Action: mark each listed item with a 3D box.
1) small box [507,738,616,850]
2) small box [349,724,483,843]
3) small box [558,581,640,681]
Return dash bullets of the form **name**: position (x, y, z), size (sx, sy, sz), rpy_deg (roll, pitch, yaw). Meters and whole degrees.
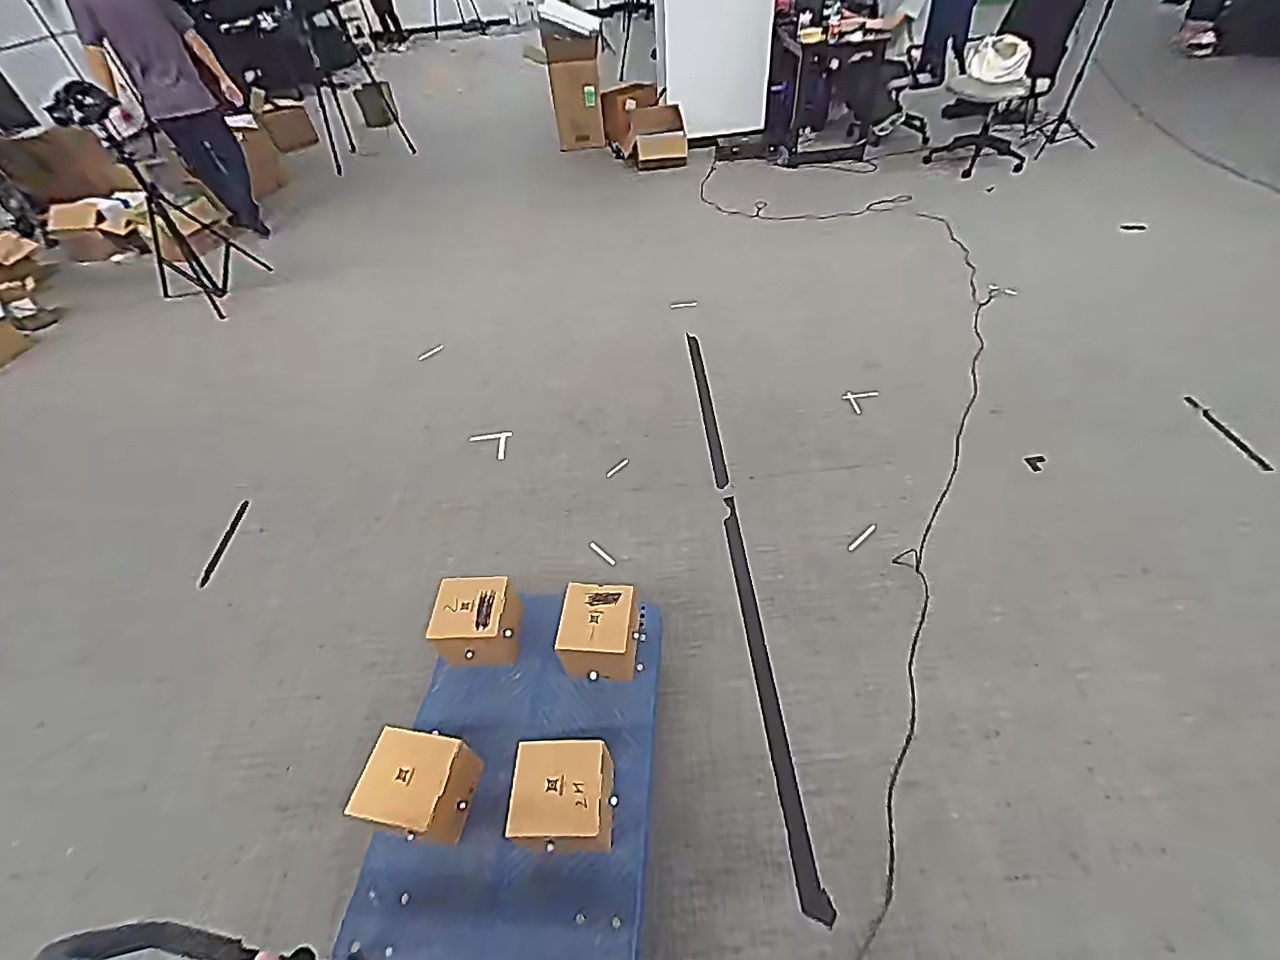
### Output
- **small box**: position (-0.148, 0.636, 1.091), size (0.179, 0.176, 0.168), rpy_deg (-3, 48, 5)
- **small box**: position (-0.454, 0.635, 1.127), size (0.179, 0.176, 0.168), rpy_deg (5, 47, 9)
- **small box**: position (-0.092, 0.371, 1.331), size (0.168, 0.176, 0.179), rpy_deg (1, 49, 8)
